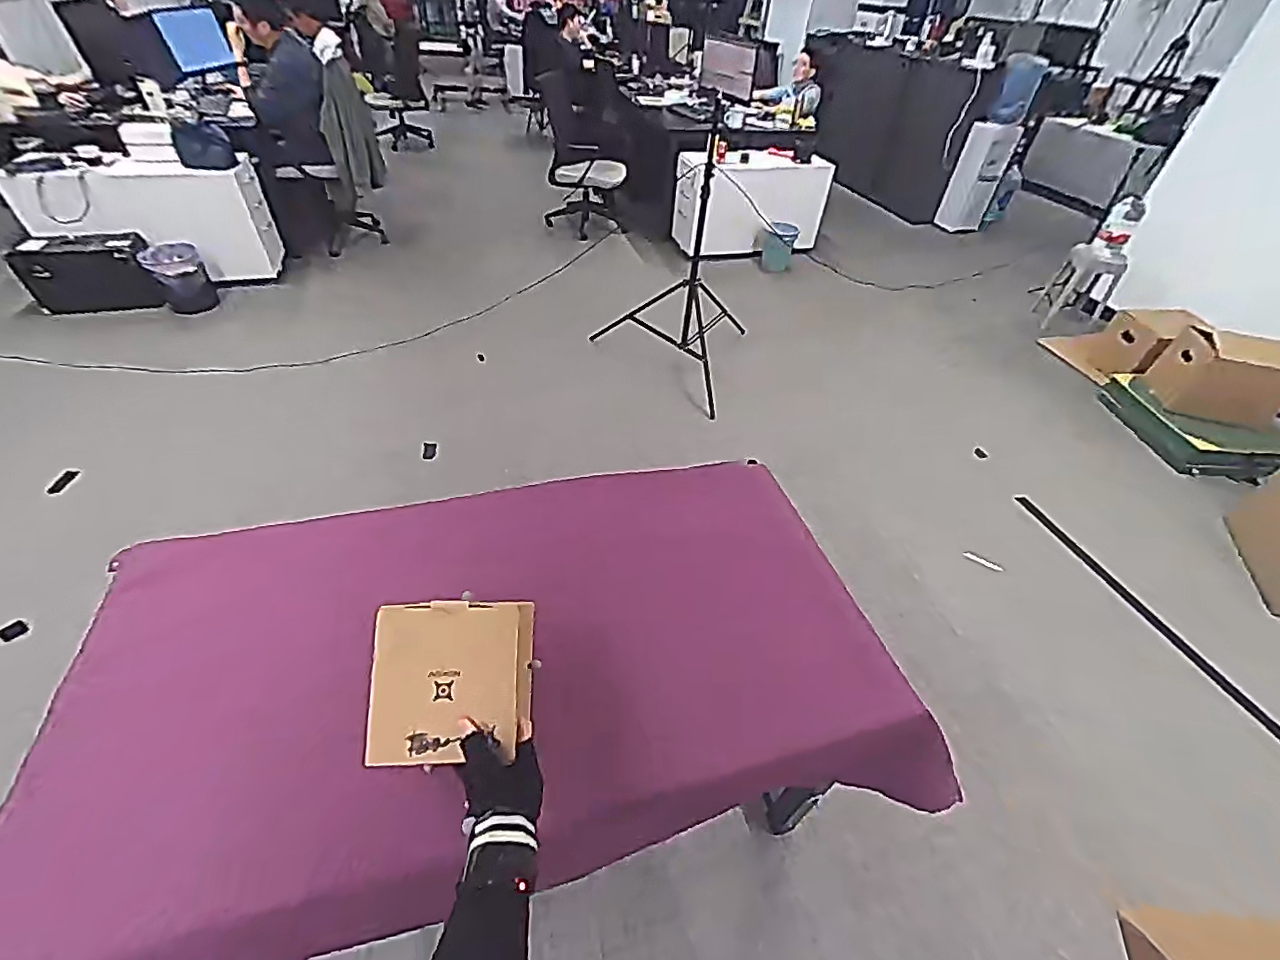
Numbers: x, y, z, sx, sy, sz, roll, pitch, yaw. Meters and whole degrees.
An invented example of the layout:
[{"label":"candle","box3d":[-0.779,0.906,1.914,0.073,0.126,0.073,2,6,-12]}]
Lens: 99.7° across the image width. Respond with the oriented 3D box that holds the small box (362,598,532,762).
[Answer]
[{"label":"small box","box3d":[-0.233,0.246,0.698,0.168,0.176,0.179,0,77,-5]}]
